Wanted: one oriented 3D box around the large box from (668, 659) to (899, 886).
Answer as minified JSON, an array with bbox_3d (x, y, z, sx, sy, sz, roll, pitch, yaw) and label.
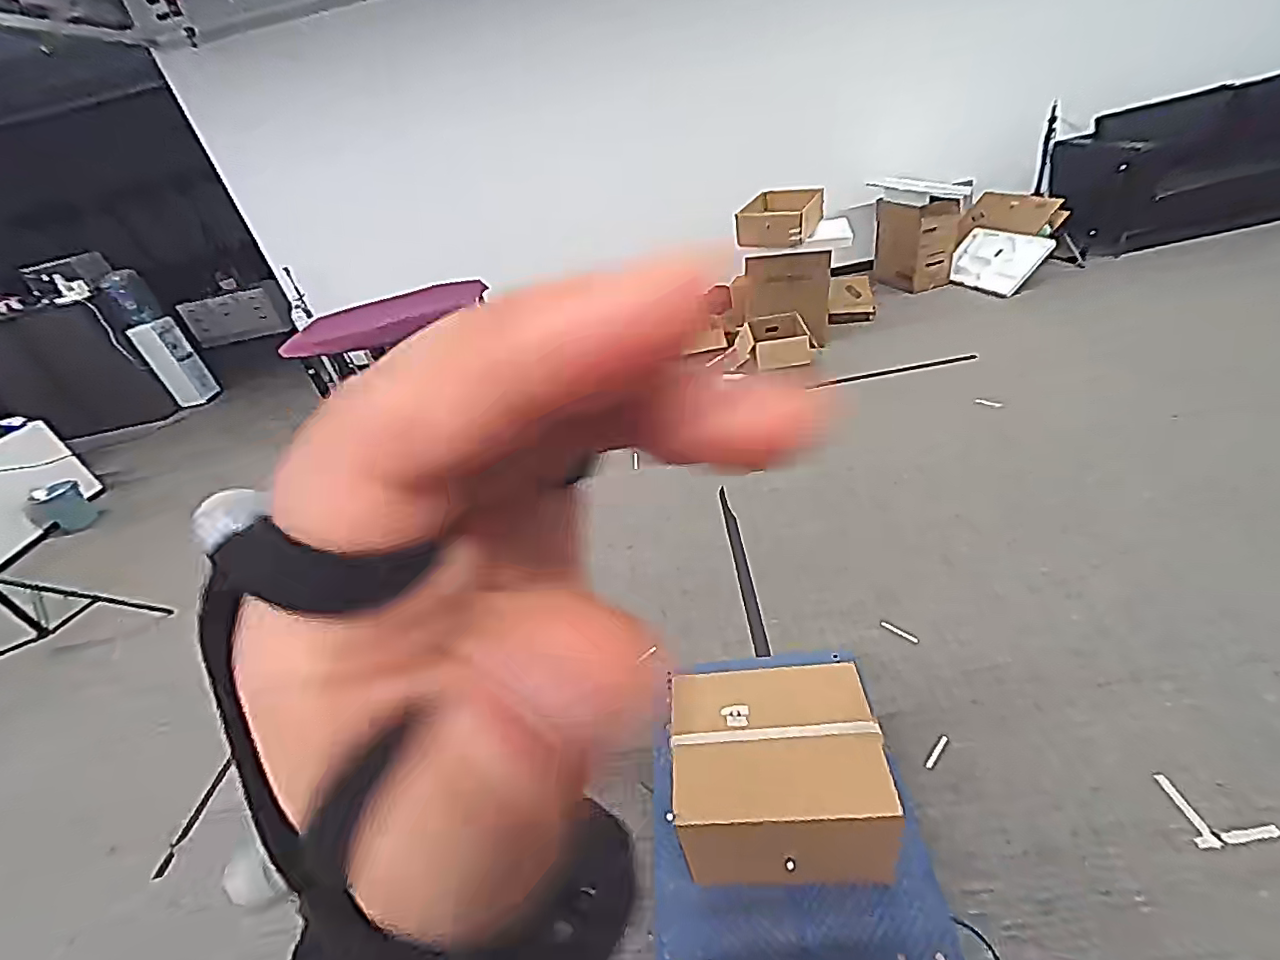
[{"bbox_3d":[0.287,0.626,1.155,0.408,0.320,0.320,-9,33,9],"label":"large box"}]
